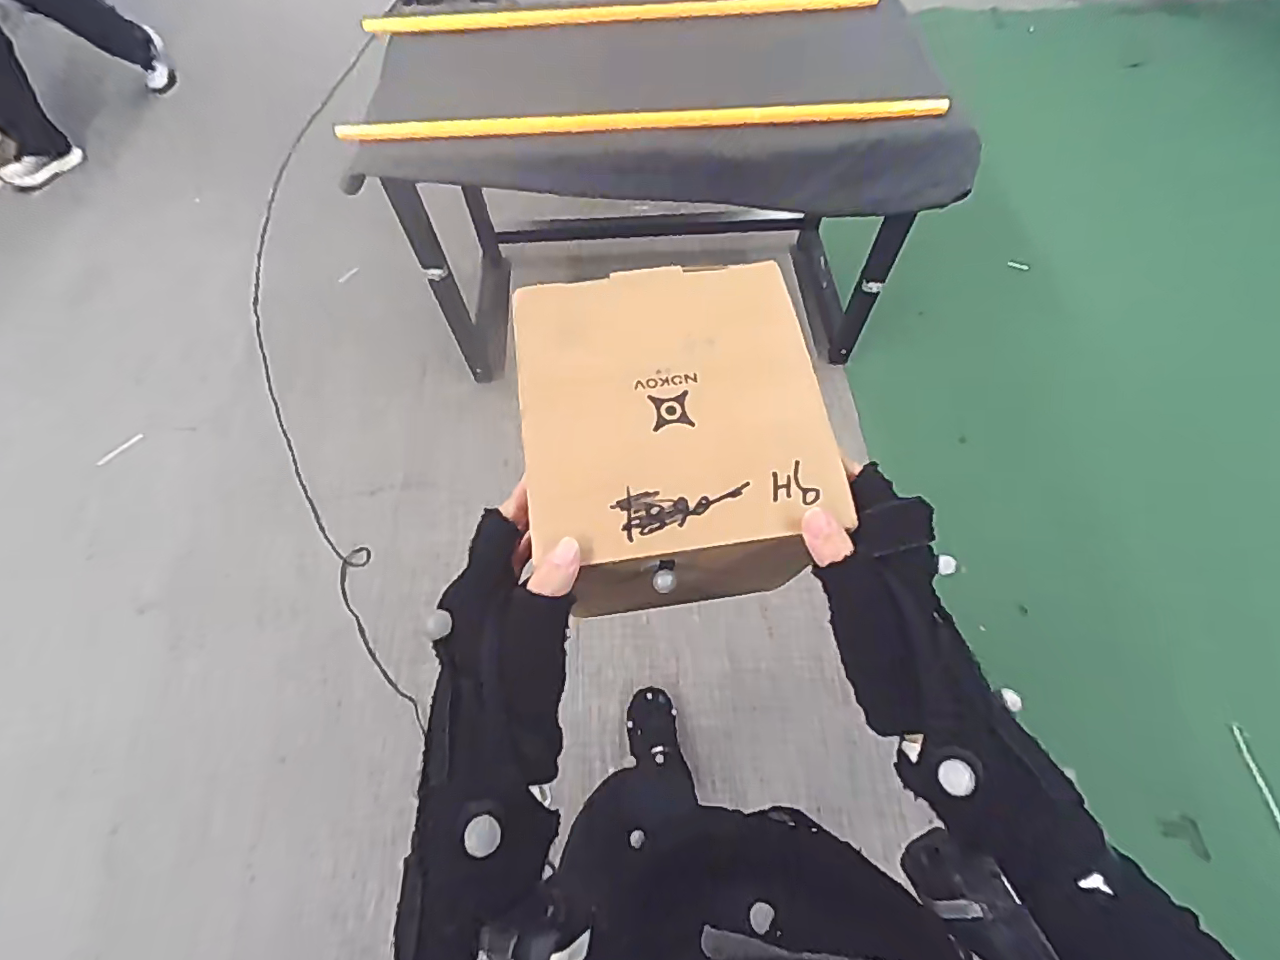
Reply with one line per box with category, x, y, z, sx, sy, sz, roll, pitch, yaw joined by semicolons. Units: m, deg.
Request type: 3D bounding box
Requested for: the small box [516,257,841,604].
small box;0.013;-0.023;0.382;0.168;0.176;0.179;-8;68;-3
